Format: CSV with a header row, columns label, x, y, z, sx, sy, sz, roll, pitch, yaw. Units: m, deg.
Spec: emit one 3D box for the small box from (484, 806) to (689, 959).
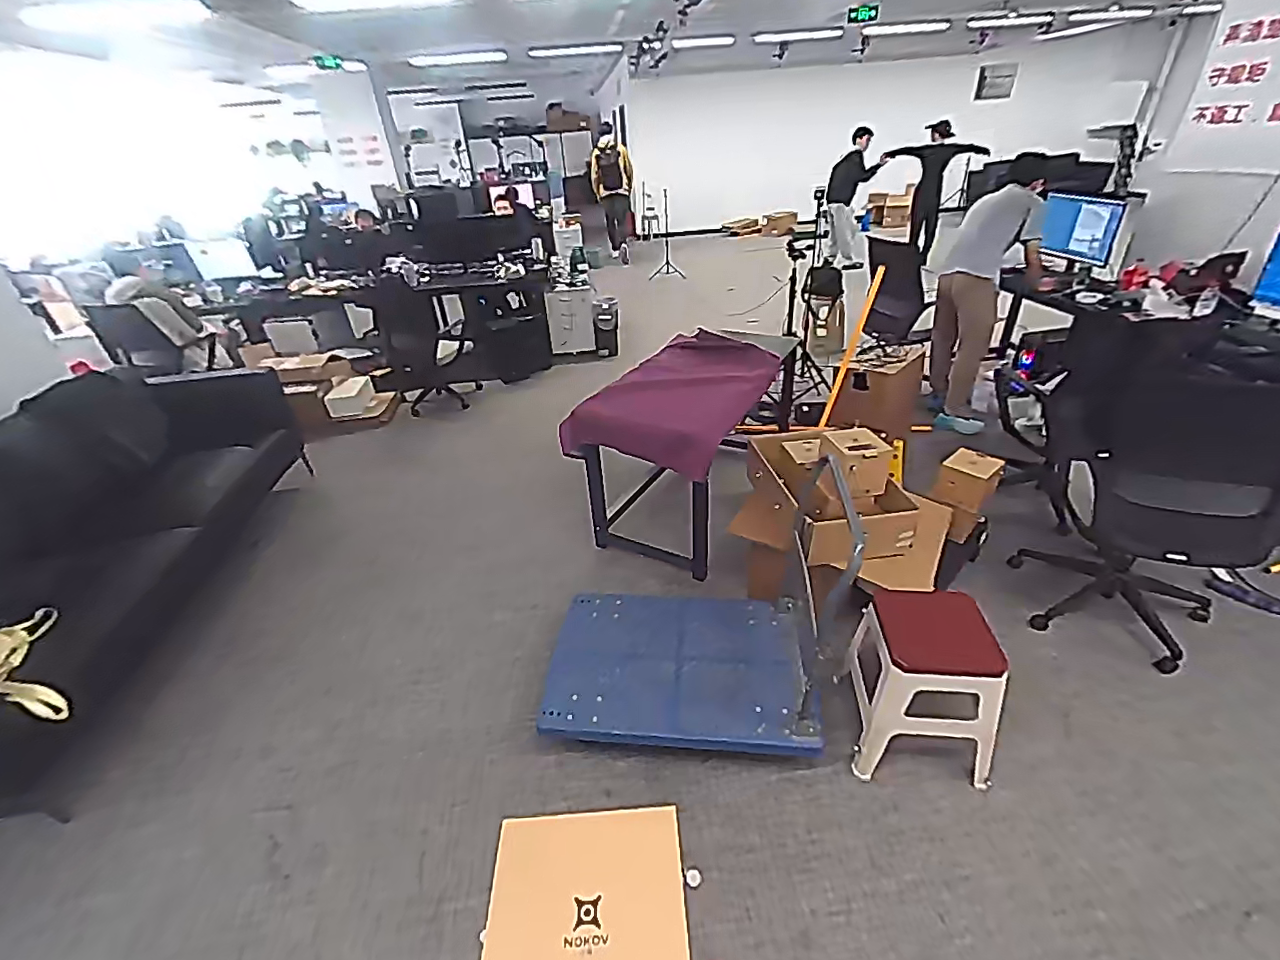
label,x,y,z,sx,sy,sz,roll,pitch,yaw
small box,-0.039,0.432,0.493,0.168,0.176,0.179,-4,34,1
